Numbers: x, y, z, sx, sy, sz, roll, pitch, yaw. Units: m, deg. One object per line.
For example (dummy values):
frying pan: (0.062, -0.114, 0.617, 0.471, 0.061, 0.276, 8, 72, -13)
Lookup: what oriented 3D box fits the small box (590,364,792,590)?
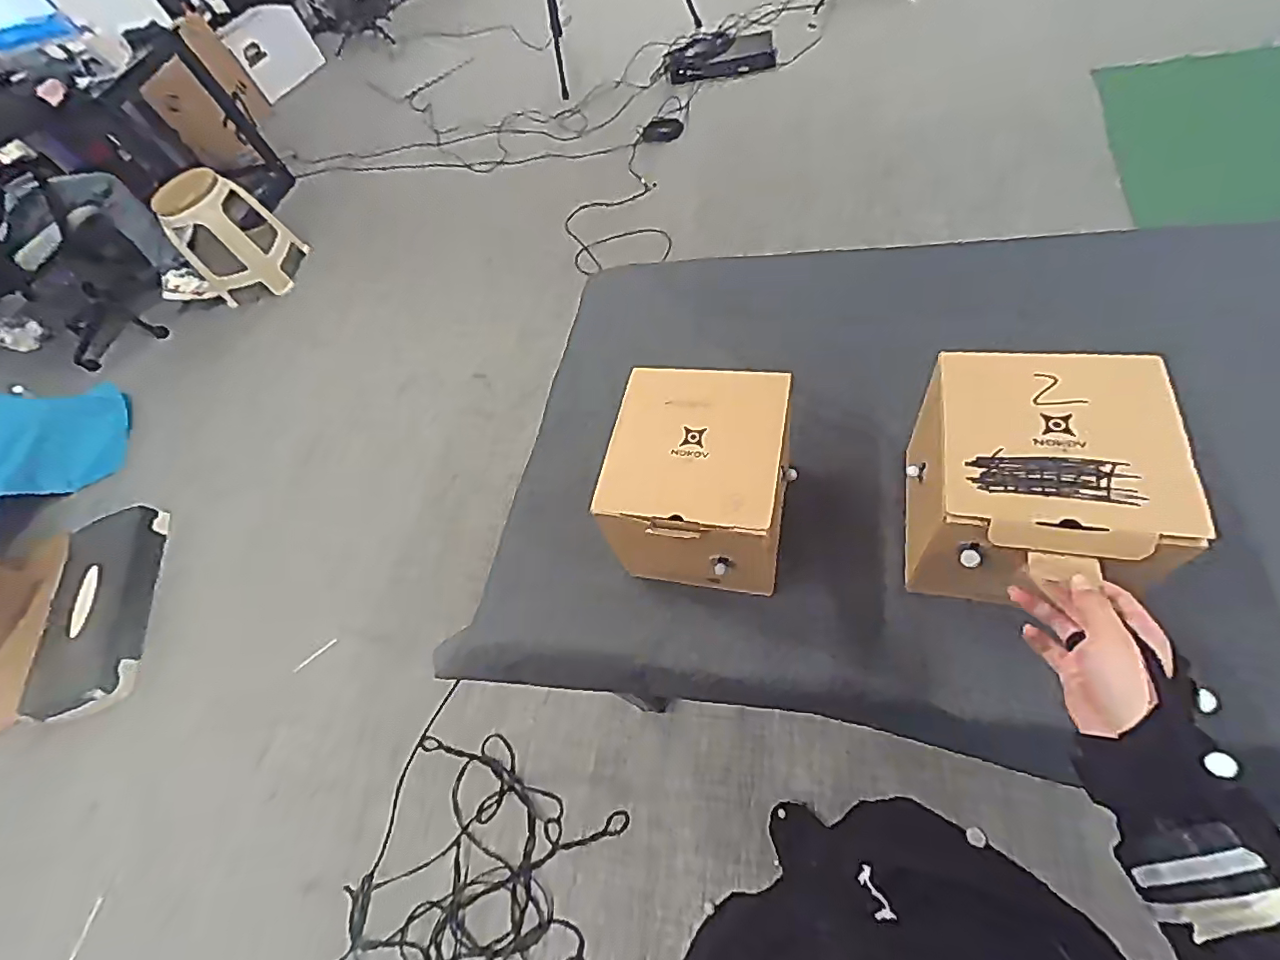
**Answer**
small box: (0.067, 0.001, 0.571, 0.168, 0.176, 0.179, 6, 61, 16)
